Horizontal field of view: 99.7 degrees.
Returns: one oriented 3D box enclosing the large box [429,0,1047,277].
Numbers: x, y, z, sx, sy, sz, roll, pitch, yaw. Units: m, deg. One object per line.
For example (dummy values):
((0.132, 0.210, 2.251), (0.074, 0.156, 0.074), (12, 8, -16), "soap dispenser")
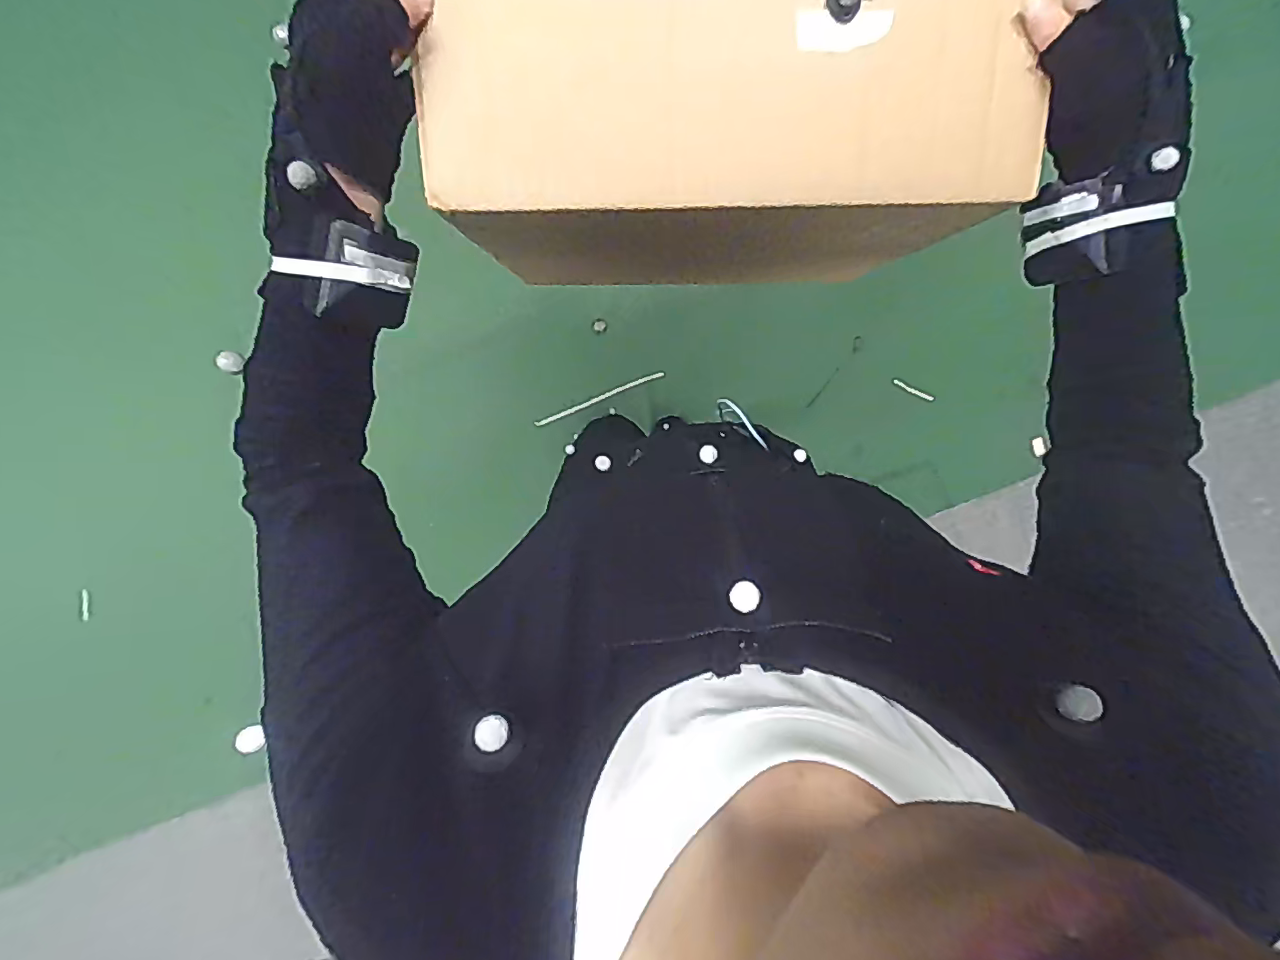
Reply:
((0.060, -0.374, 0.485), (0.408, 0.320, 0.320), (0, 102, 0), "large box")
